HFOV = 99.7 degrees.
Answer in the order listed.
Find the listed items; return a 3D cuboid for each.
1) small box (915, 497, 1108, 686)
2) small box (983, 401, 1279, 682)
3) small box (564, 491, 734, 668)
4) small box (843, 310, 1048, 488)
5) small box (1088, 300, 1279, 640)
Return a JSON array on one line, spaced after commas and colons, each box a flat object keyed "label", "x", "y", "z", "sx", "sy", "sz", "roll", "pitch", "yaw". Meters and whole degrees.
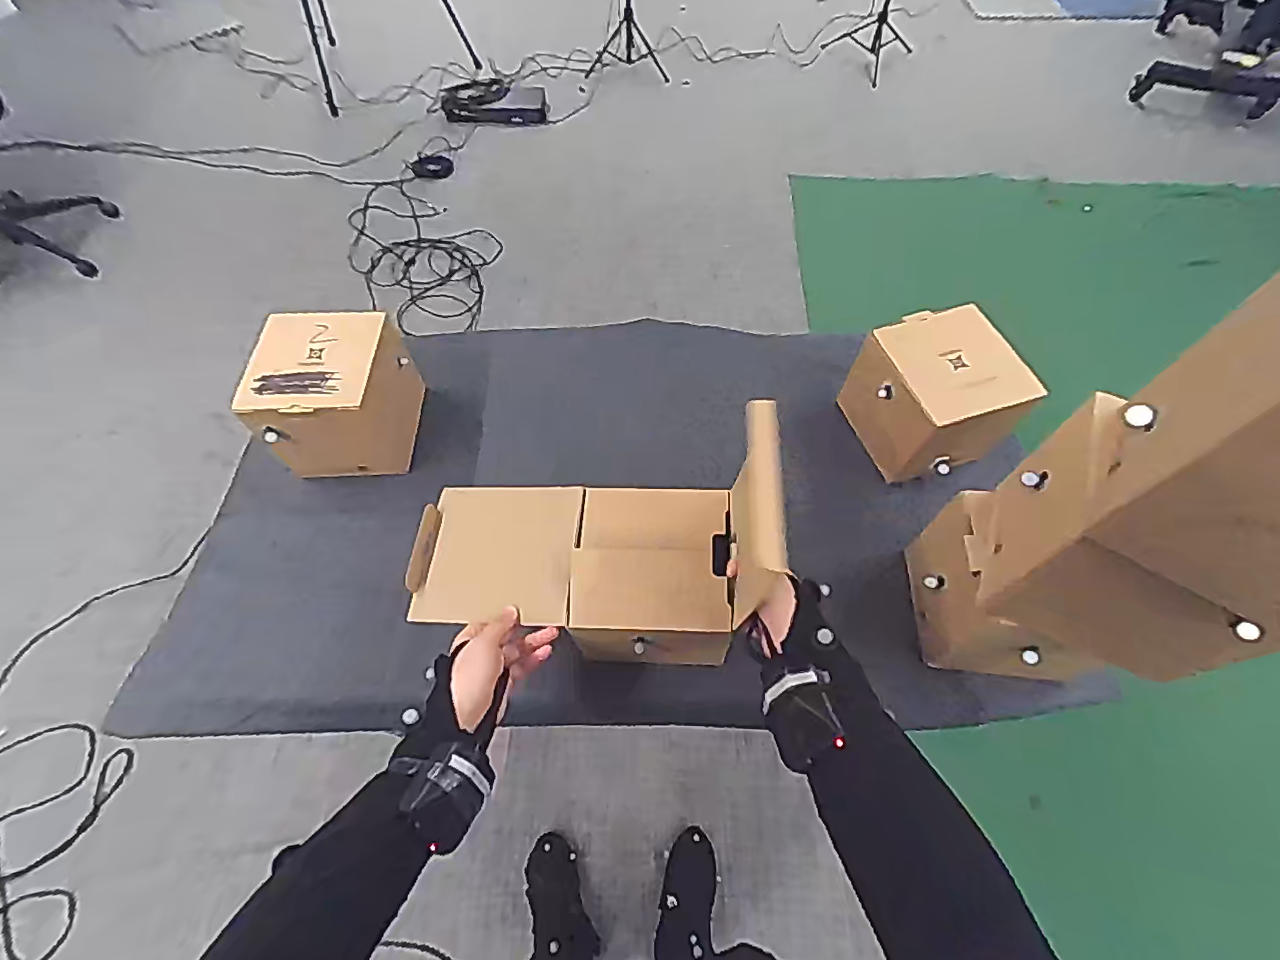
[{"label": "small box", "x": 0.452, "y": 0.138, "z": 0.647, "sx": 0.179, "sy": 0.176, "sz": 0.168, "roll": 5, "pitch": 57, "yaw": 4}, {"label": "small box", "x": 0.456, "y": 0.063, "z": 0.501, "sx": 0.179, "sy": 0.176, "sz": 0.168, "roll": 24, "pitch": 60, "yaw": 14}, {"label": "small box", "x": 0.018, "y": 0.125, "z": 0.651, "sx": 0.179, "sy": 0.176, "sz": 0.168, "roll": 1, "pitch": 62, "yaw": 5}, {"label": "small box", "x": 0.428, "y": -0.114, "z": 0.796, "sx": 0.168, "sy": 0.176, "sz": 0.179, "roll": -15, "pitch": 63, "yaw": -6}, {"label": "small box", "x": 0.454, "y": -0.006, "z": 0.349, "sx": 0.179, "sy": 0.176, "sz": 0.168, "roll": 33, "pitch": 62, "yaw": 19}]
